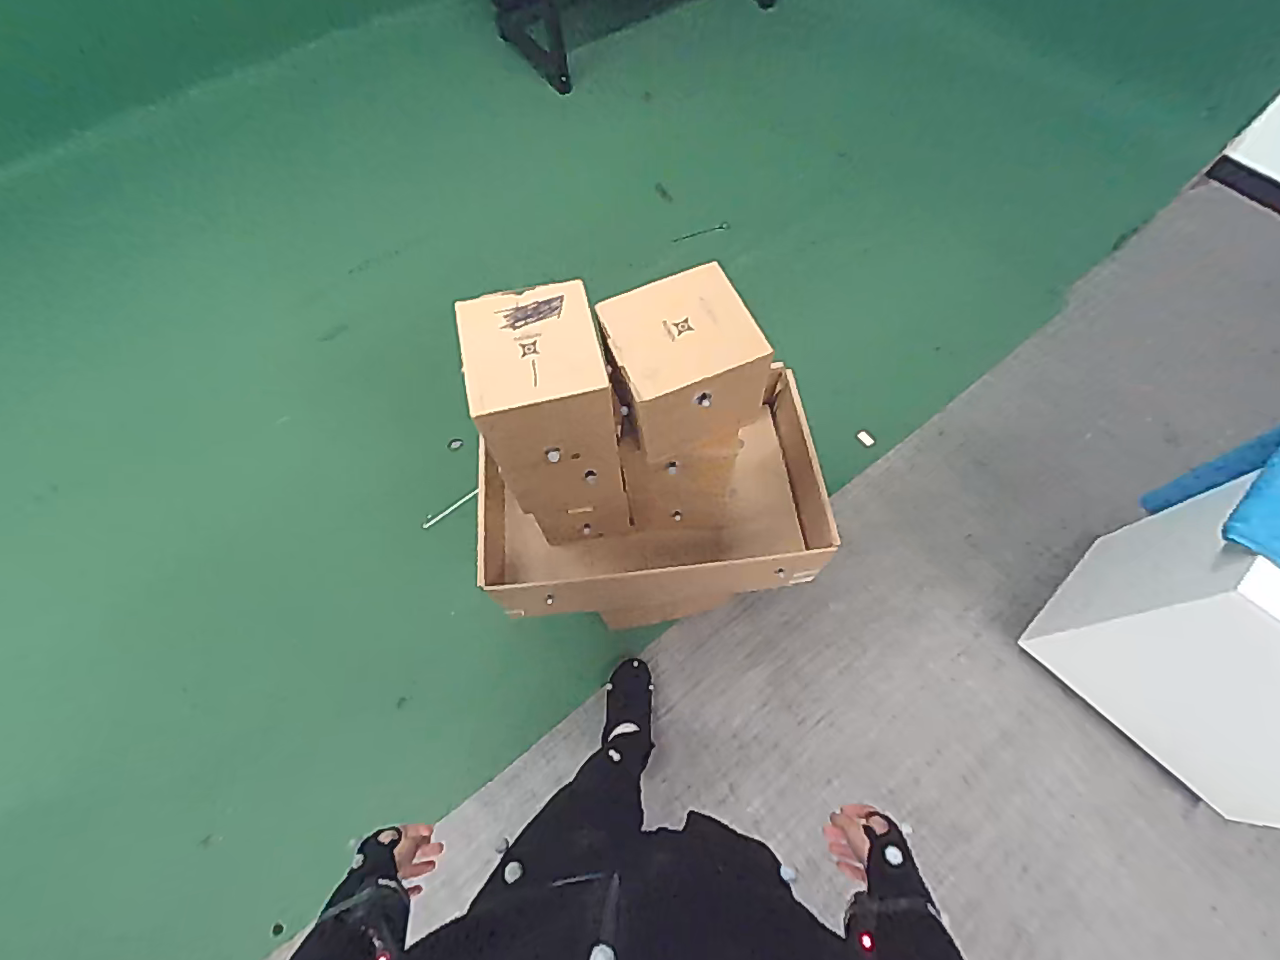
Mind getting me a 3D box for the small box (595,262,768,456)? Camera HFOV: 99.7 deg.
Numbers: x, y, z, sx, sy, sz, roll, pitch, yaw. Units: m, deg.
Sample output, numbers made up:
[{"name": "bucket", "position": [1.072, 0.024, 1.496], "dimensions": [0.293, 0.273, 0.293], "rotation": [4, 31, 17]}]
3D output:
[{"name": "small box", "position": [0.055, -0.156, 0.744], "dimensions": [0.179, 0.176, 0.168], "rotation": [-20, 65, -5]}]
